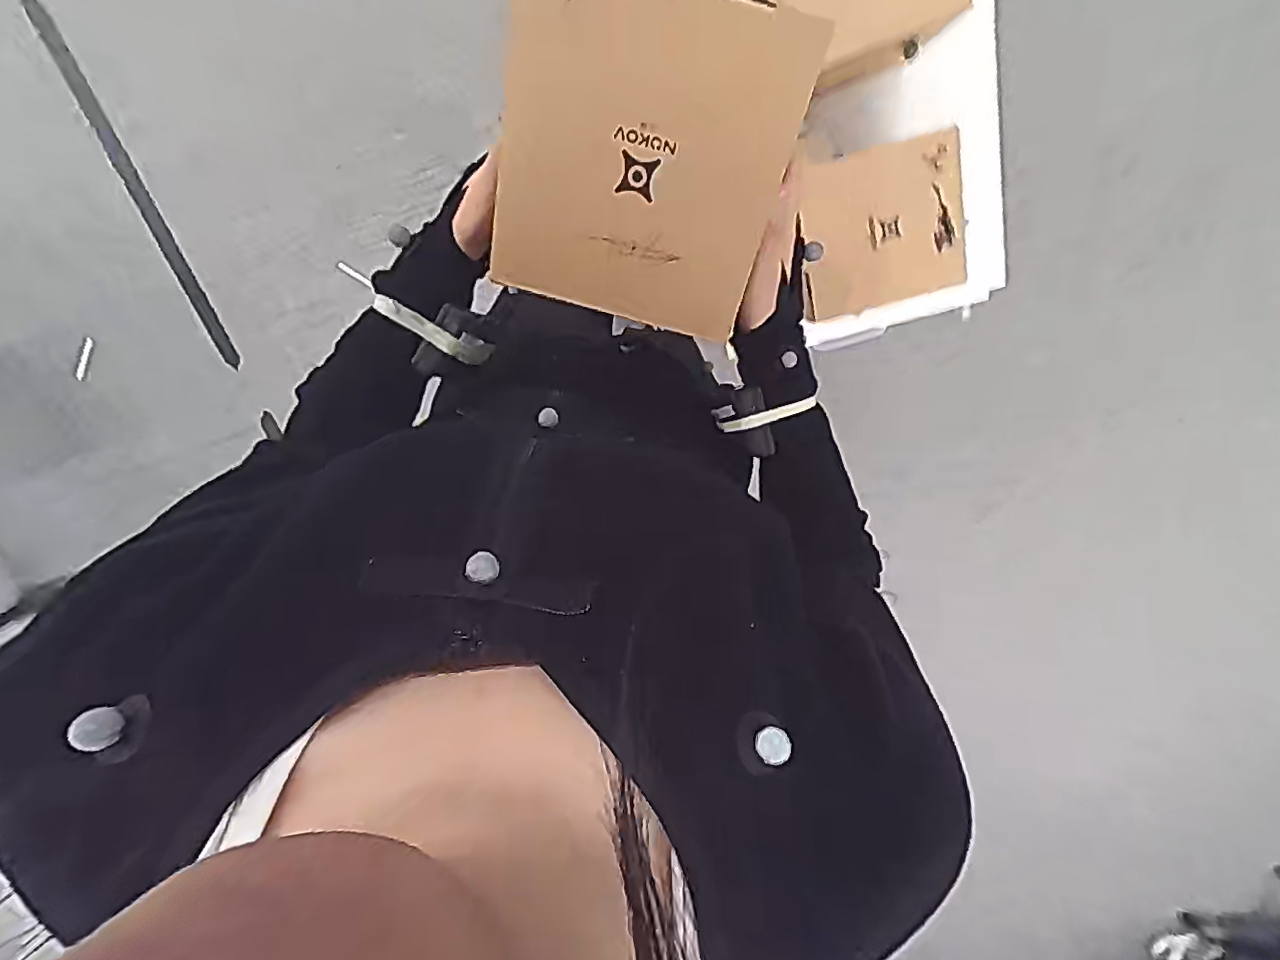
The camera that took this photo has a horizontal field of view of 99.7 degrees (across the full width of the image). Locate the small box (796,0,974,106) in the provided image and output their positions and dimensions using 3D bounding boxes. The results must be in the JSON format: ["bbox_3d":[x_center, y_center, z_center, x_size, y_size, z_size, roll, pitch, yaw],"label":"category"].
[{"bbox_3d":[0.221,-0.534,0.581,0.179,0.176,0.168,-16,110,10],"label":"small box"}]

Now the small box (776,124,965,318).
[{"bbox_3d":[0.271,-0.306,0.671,0.179,0.176,0.168,-11,110,9],"label":"small box"}]

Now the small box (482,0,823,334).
[{"bbox_3d":[0.003,-0.229,0.379,0.168,0.176,0.179,14,123,-2],"label":"small box"}]
